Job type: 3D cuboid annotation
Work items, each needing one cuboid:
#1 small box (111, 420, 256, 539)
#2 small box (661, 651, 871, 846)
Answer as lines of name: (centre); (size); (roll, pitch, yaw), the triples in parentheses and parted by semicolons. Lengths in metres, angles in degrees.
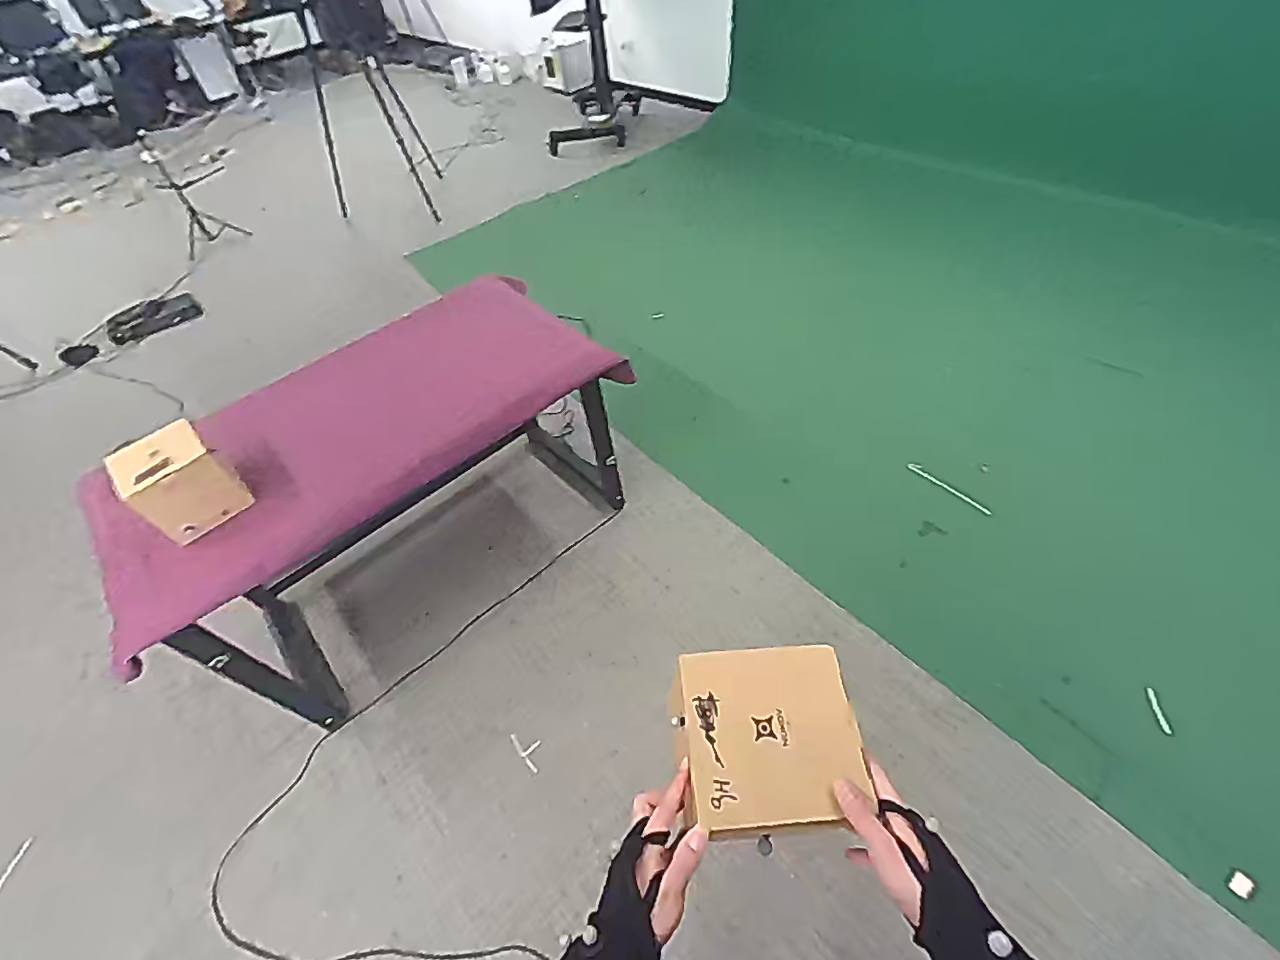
small box: (-0.999, 0.005, 1.195); (0.168, 0.176, 0.179); (-39, 55, -24)
small box: (0.122, 0.303, 0.606); (0.179, 0.176, 0.168); (-1, 51, -4)
